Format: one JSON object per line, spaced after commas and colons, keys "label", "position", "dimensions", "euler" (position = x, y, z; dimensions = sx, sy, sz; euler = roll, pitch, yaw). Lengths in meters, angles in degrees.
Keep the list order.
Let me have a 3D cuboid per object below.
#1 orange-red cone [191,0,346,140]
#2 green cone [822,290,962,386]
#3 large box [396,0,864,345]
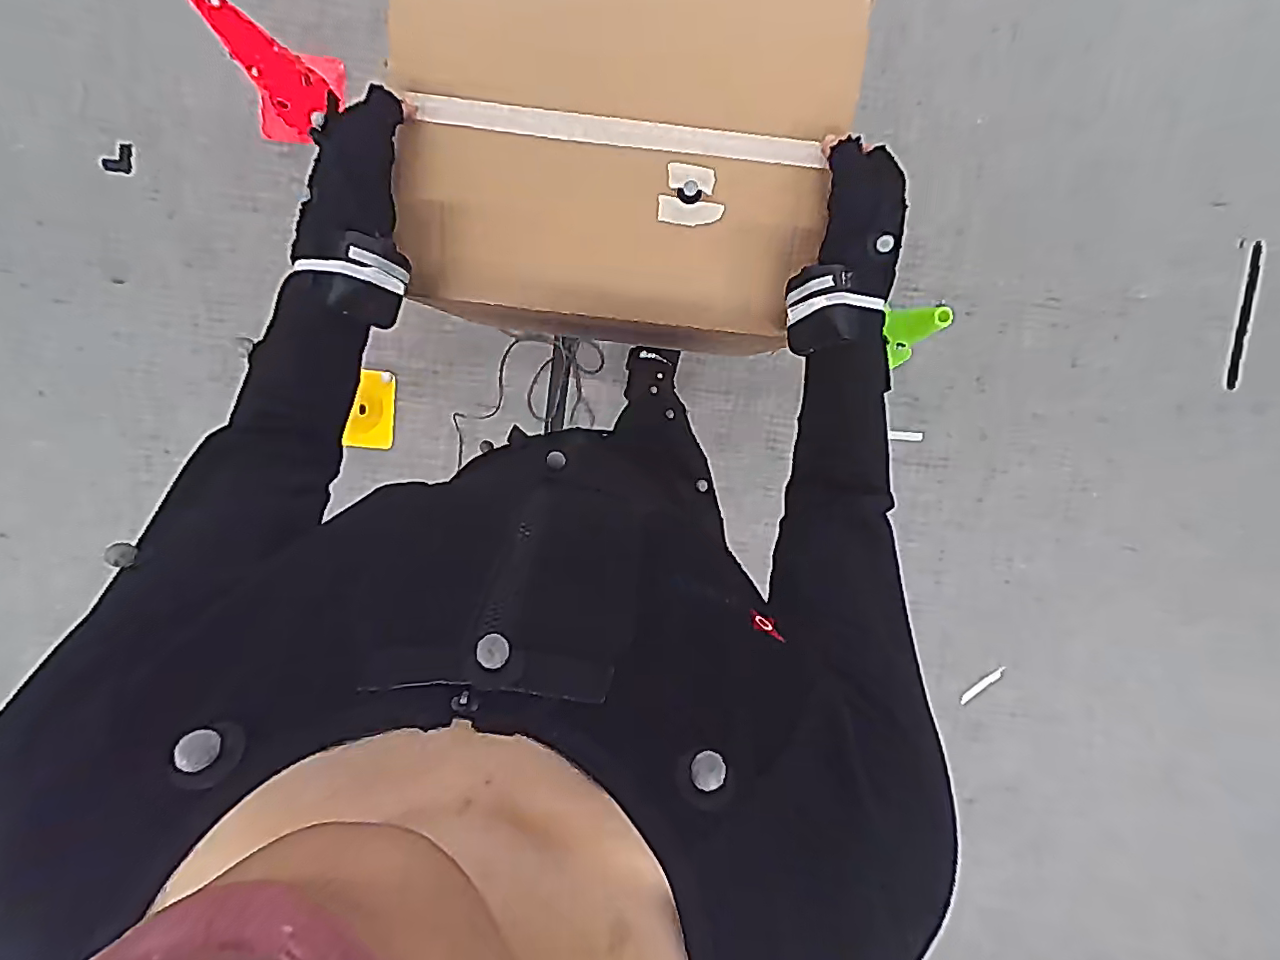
{"label": "orange-red cone", "position": [-0.813, -0.914, 1.146], "dimensions": [0.198, 0.360, 0.199], "euler": [4, 98, -2]}
{"label": "green cone", "position": [0.615, -0.356, 1.263], "dimensions": [0.202, 0.368, 0.200], "euler": [-31, 98, 0]}
{"label": "large box", "position": [-0.020, -0.342, 0.627], "dimensions": [0.408, 0.320, 0.320], "euler": [6, 100, -2]}
